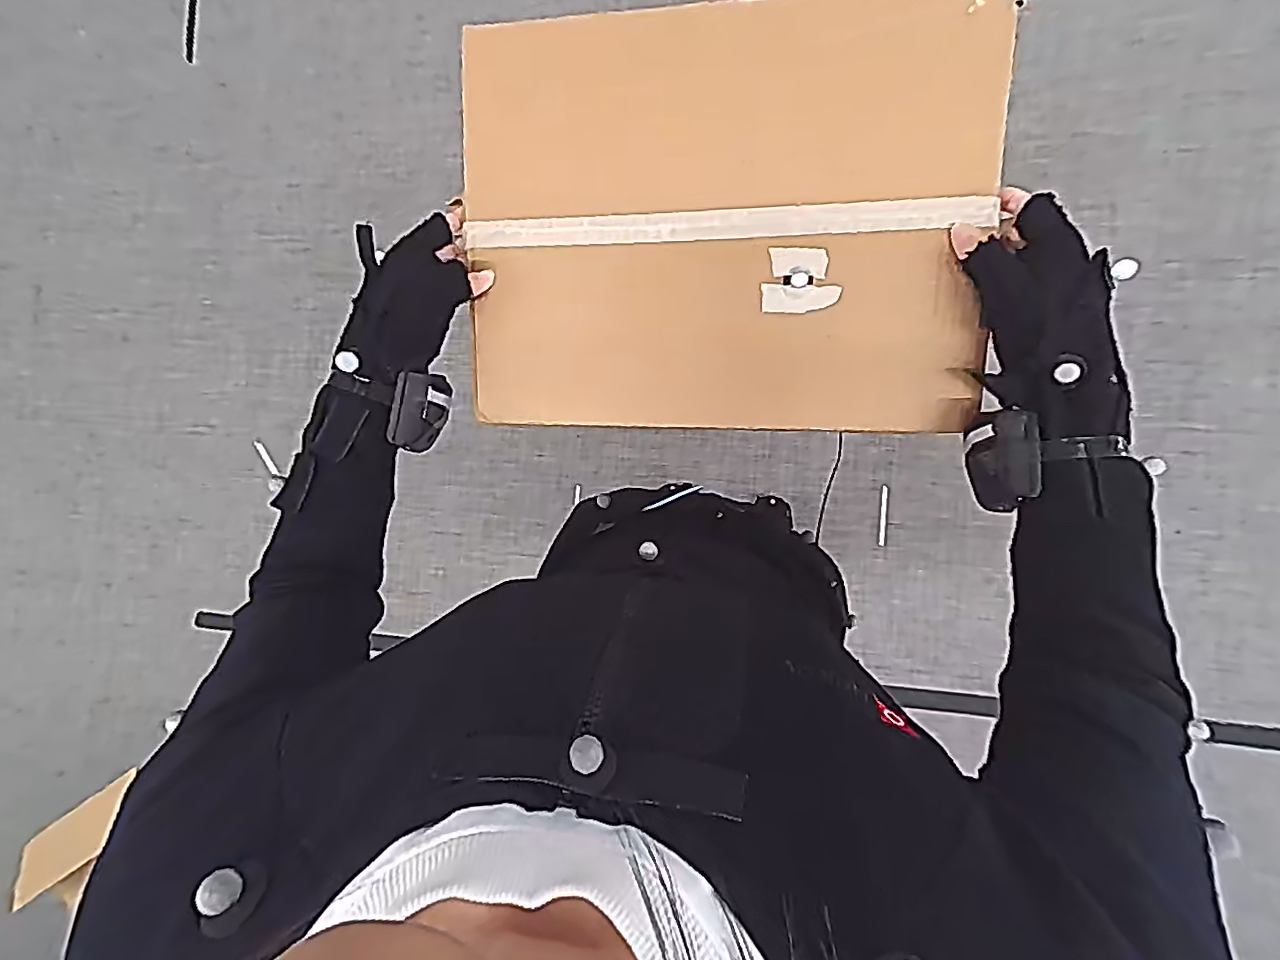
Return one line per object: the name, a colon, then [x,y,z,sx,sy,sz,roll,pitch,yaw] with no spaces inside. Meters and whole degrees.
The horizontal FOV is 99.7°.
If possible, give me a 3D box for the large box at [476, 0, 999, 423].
large box: [0.082,-0.222,0.579,0.408,0.320,0.320,2,99,9]
